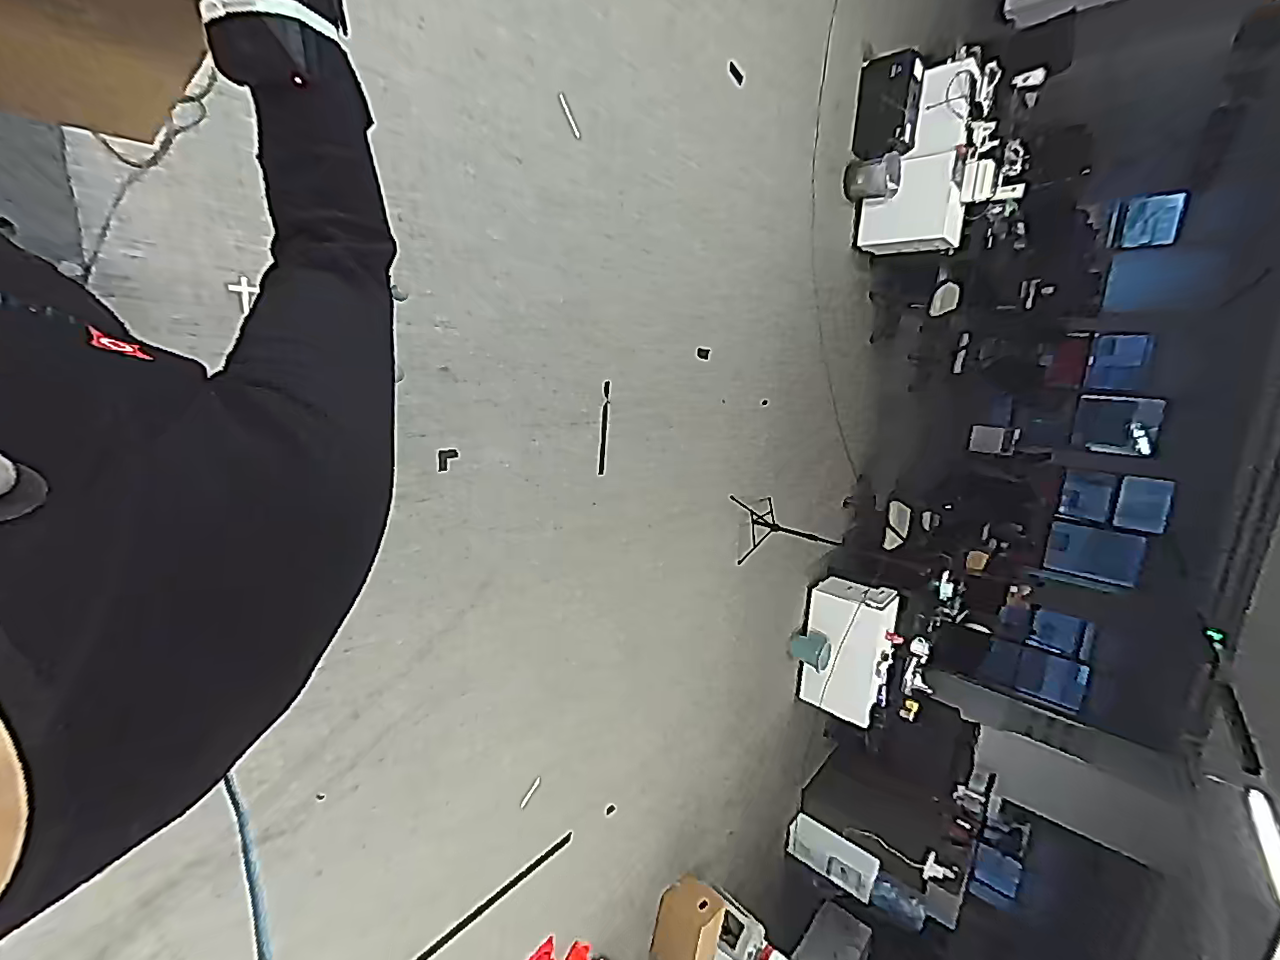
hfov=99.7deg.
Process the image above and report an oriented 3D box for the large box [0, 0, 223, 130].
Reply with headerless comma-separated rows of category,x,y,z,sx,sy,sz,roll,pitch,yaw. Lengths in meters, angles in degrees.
large box,-0.523,-0.454,0.284,0.408,0.320,0.320,-13,107,-48
